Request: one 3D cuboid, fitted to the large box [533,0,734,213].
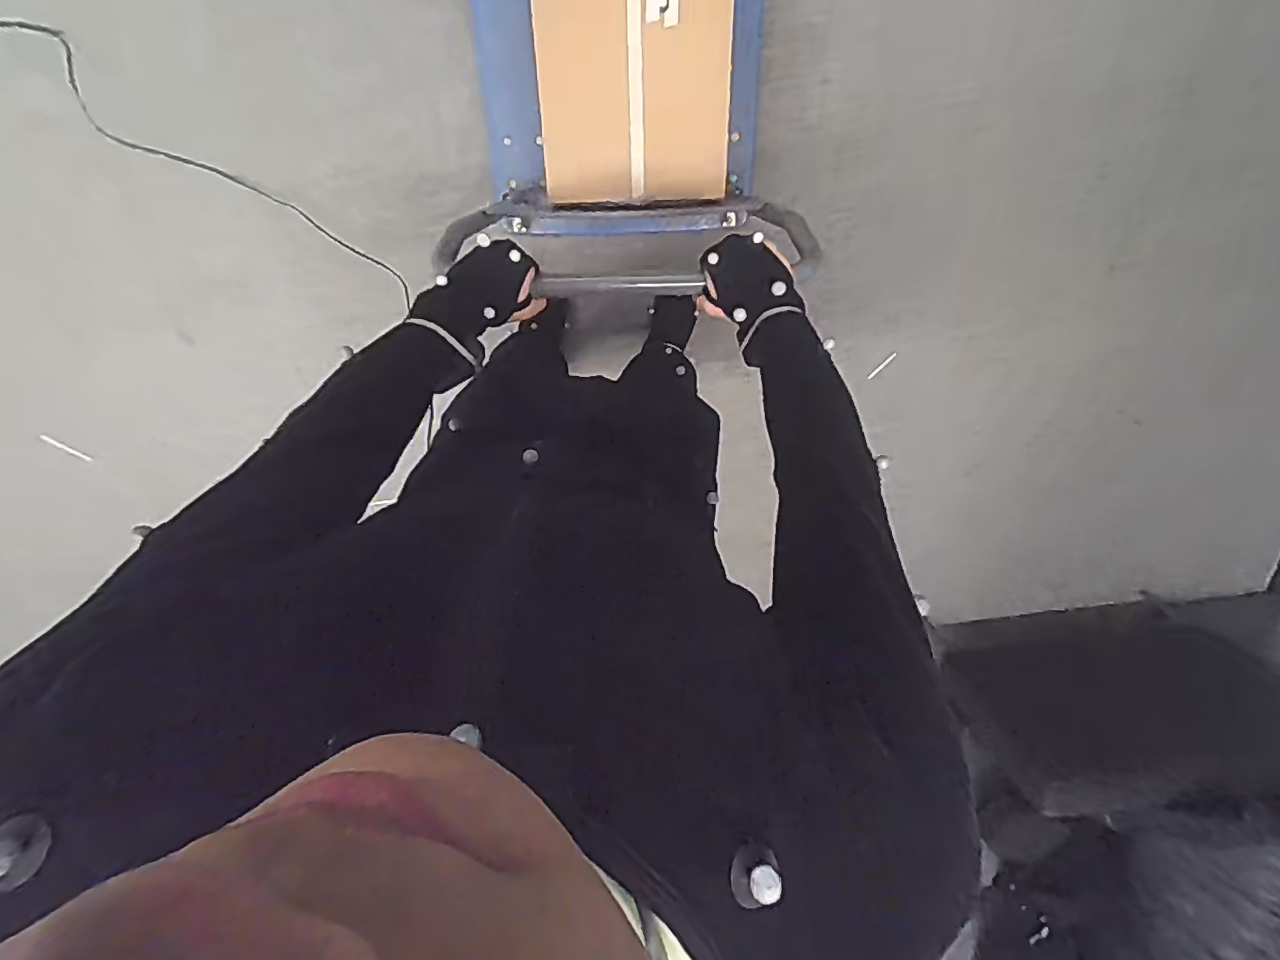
[{"bbox_3d":[-0.008,-0.726,1.001,0.320,0.320,0.408,-2,116,-1],"label":"large box"}]
